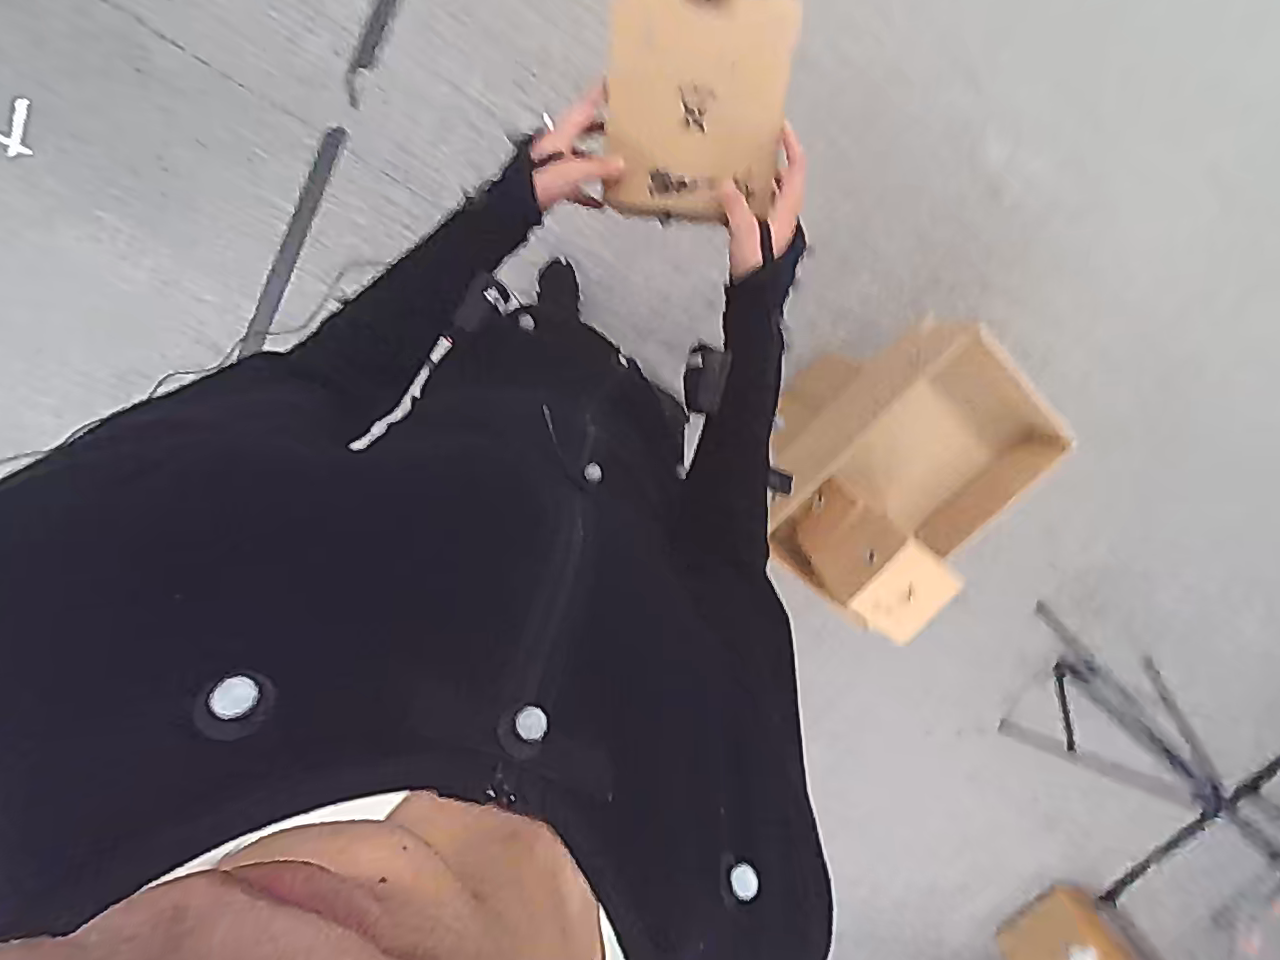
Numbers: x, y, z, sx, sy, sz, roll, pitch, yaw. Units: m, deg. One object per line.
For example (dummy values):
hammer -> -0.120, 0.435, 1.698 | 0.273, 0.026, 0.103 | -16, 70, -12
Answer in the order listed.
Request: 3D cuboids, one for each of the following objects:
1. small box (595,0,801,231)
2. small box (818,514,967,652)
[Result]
small box -> 0.052, -0.366, 0.560 | 0.168, 0.176, 0.179 | 7, 112, 2
small box -> 0.492, 0.198, 1.084 | 0.168, 0.176, 0.179 | 35, 105, -16
